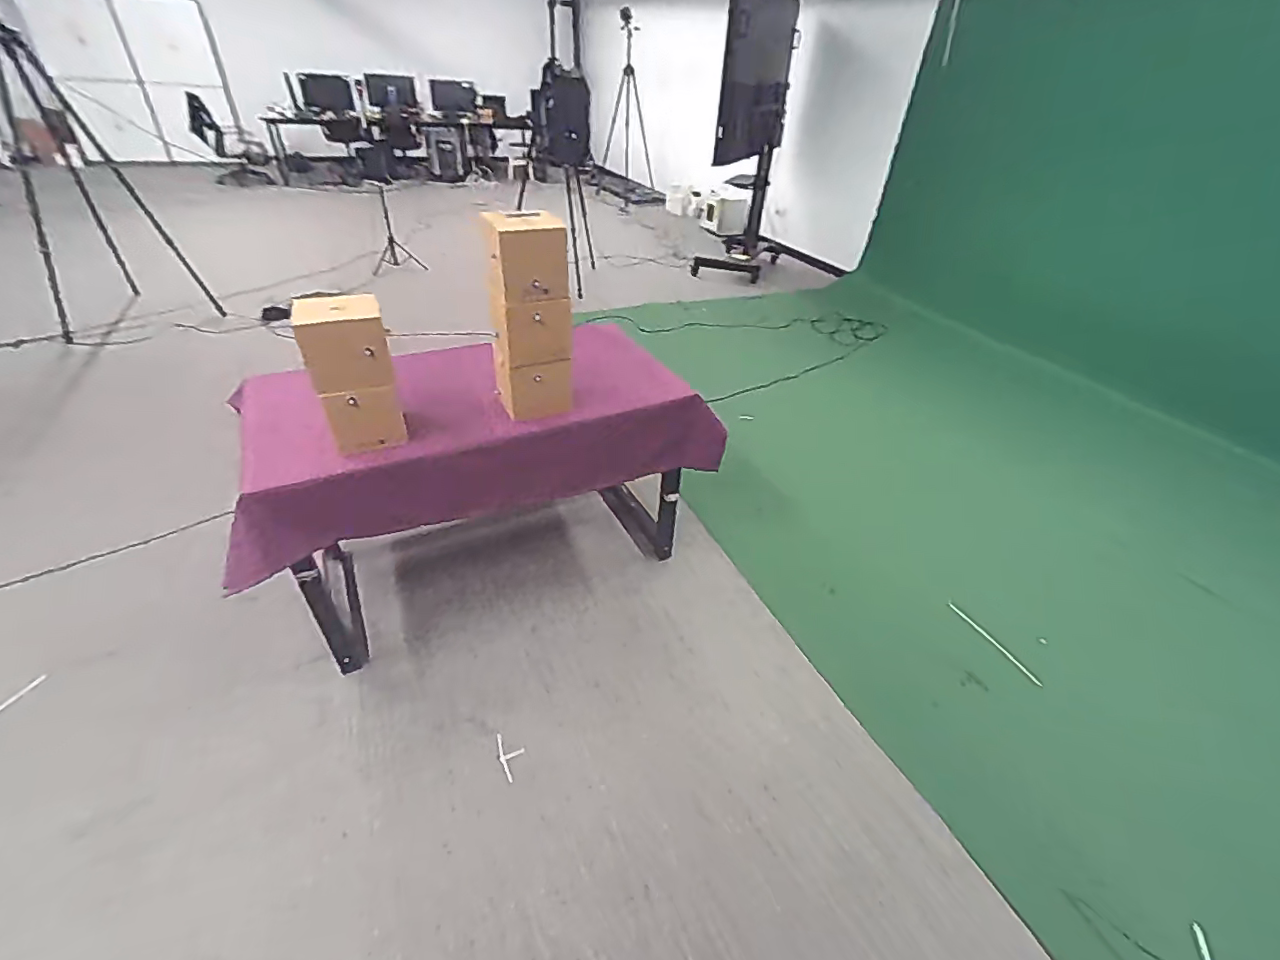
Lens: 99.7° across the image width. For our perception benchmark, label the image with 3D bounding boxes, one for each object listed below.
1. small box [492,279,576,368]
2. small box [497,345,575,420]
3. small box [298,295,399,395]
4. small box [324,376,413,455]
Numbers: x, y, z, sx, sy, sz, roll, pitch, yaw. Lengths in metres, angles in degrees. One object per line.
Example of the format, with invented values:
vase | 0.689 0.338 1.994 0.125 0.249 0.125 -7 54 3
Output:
small box | -0.278 -0.415 1.428 0.179 0.176 0.168 -16 42 -22
small box | -0.290 -0.285 1.526 0.179 0.176 0.168 -14 41 -23
small box | -0.673 -0.317 1.264 0.179 0.176 0.168 -13 40 -21
small box | -0.682 -0.186 1.362 0.168 0.176 0.179 -14 40 -21
